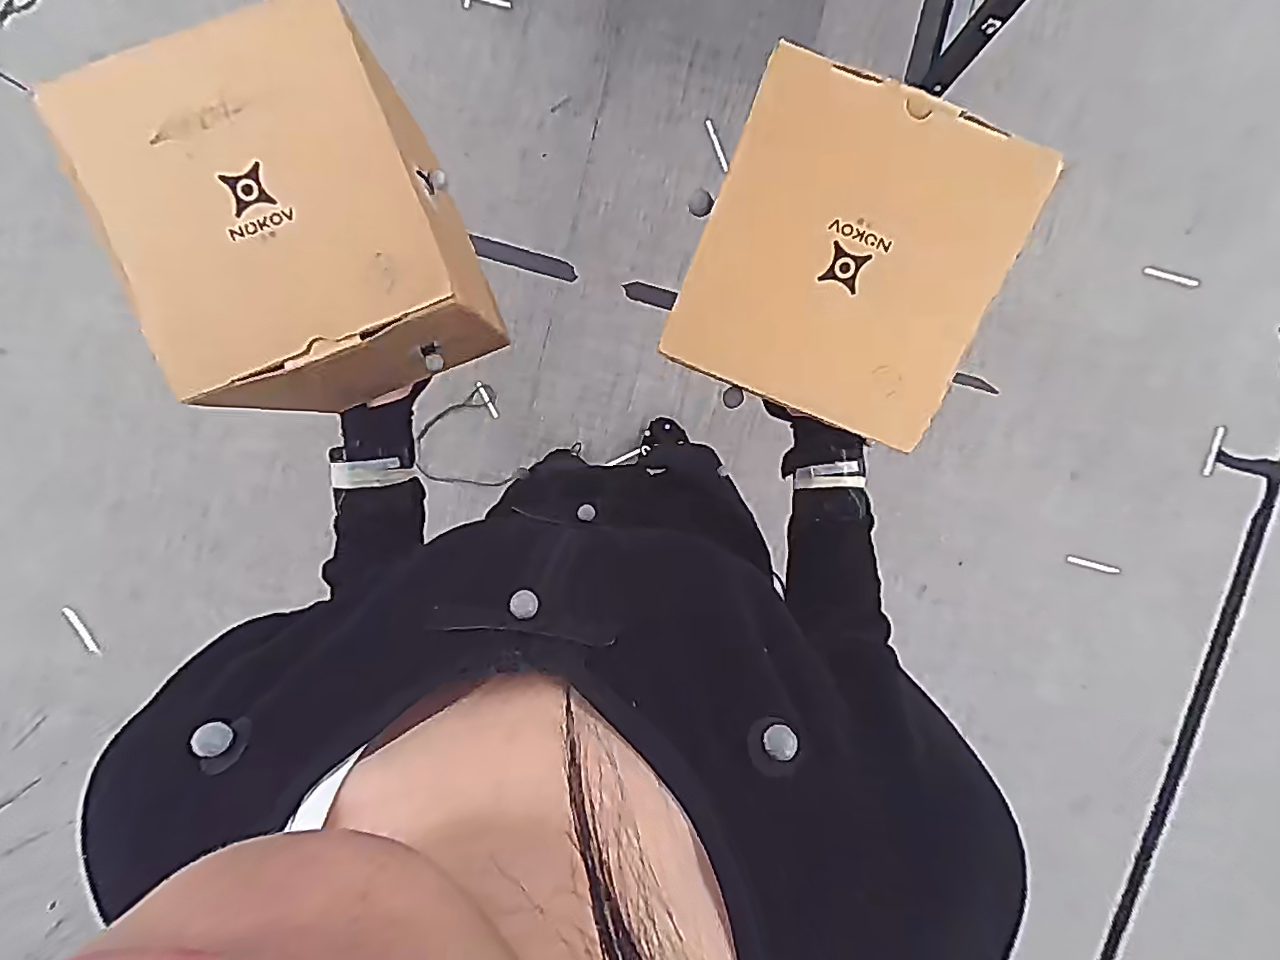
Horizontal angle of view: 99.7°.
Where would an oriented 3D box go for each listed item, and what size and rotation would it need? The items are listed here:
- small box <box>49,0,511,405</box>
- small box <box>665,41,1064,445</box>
[{"bbox_3d":[-0.204,-0.159,0.369,0.168,0.176,0.179,-22,95,-2],"label":"small box"},{"bbox_3d":[0.128,-0.142,0.383,0.168,0.176,0.179,22,101,1],"label":"small box"}]
